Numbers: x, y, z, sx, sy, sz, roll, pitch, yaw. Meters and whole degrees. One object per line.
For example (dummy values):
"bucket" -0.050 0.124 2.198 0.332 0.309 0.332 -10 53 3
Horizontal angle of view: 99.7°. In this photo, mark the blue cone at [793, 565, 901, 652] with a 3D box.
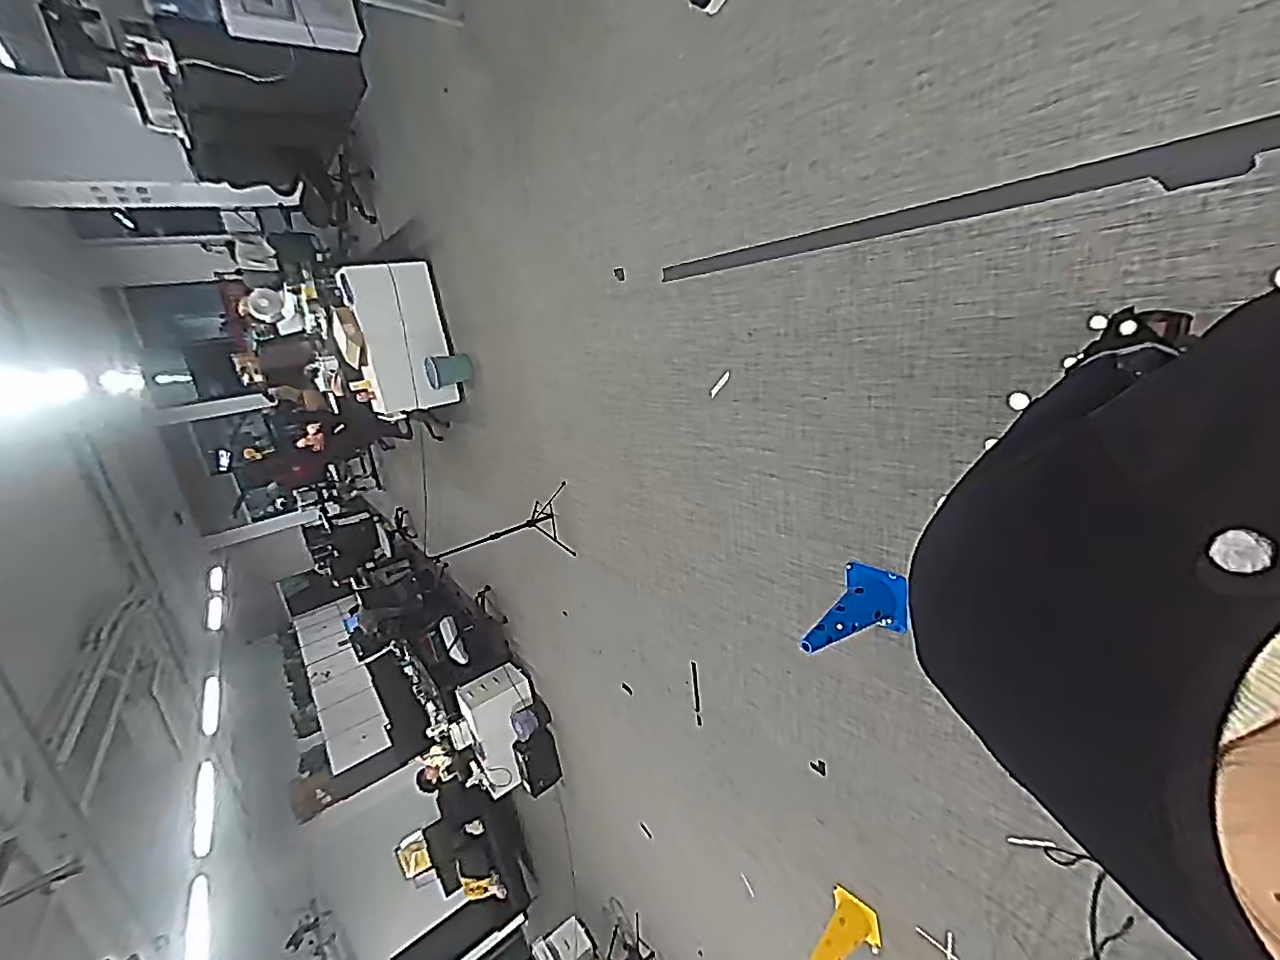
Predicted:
"blue cone" 0.600 0.417 1.614 0.192 0.380 0.193 17 120 52
